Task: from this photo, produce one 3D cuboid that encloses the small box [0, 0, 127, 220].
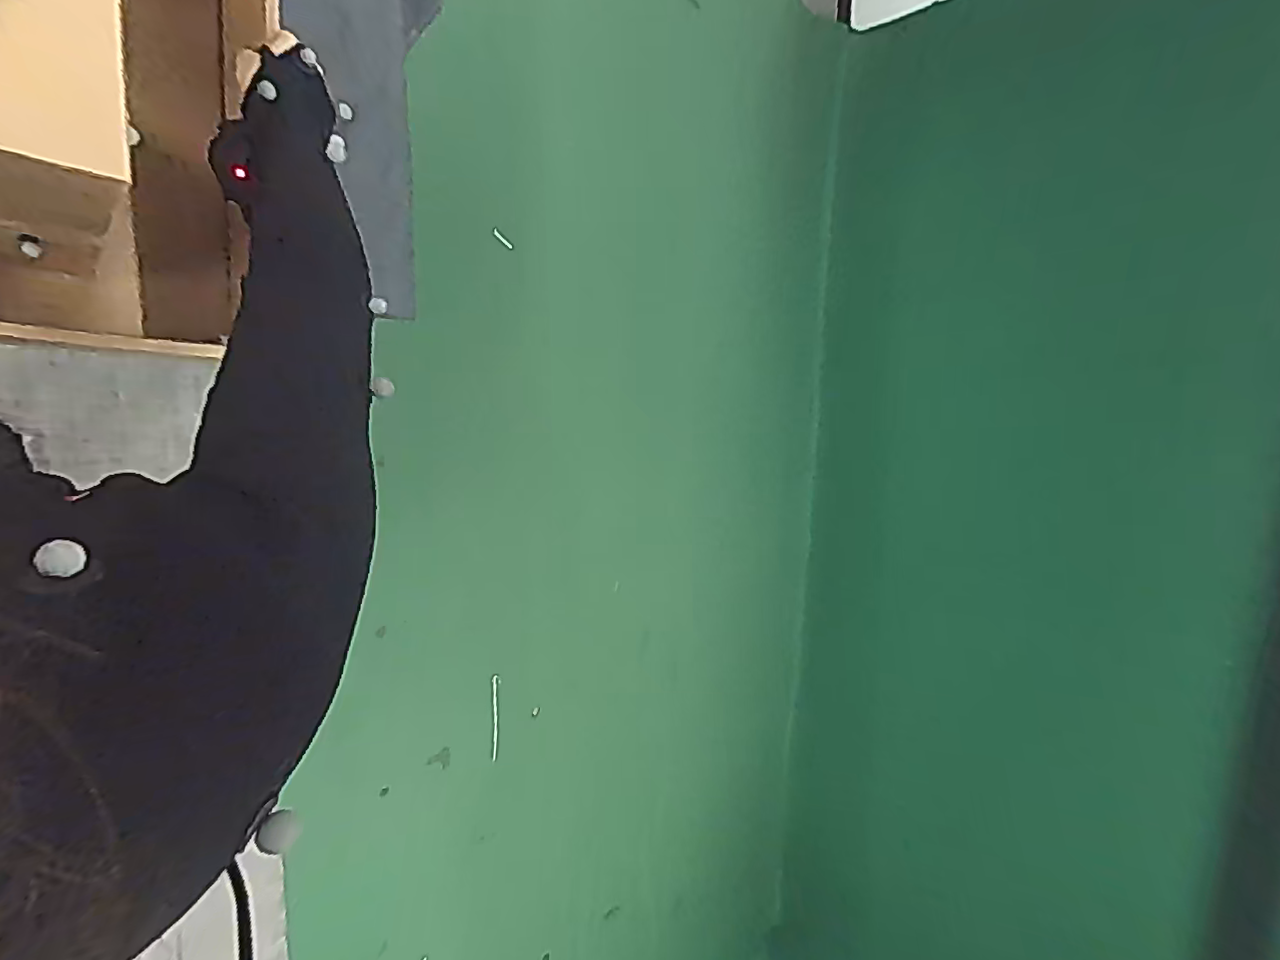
[{"bbox_3d":[-0.410,-0.259,0.291,0.179,0.176,0.168,-6,102,-50],"label":"small box"}]
